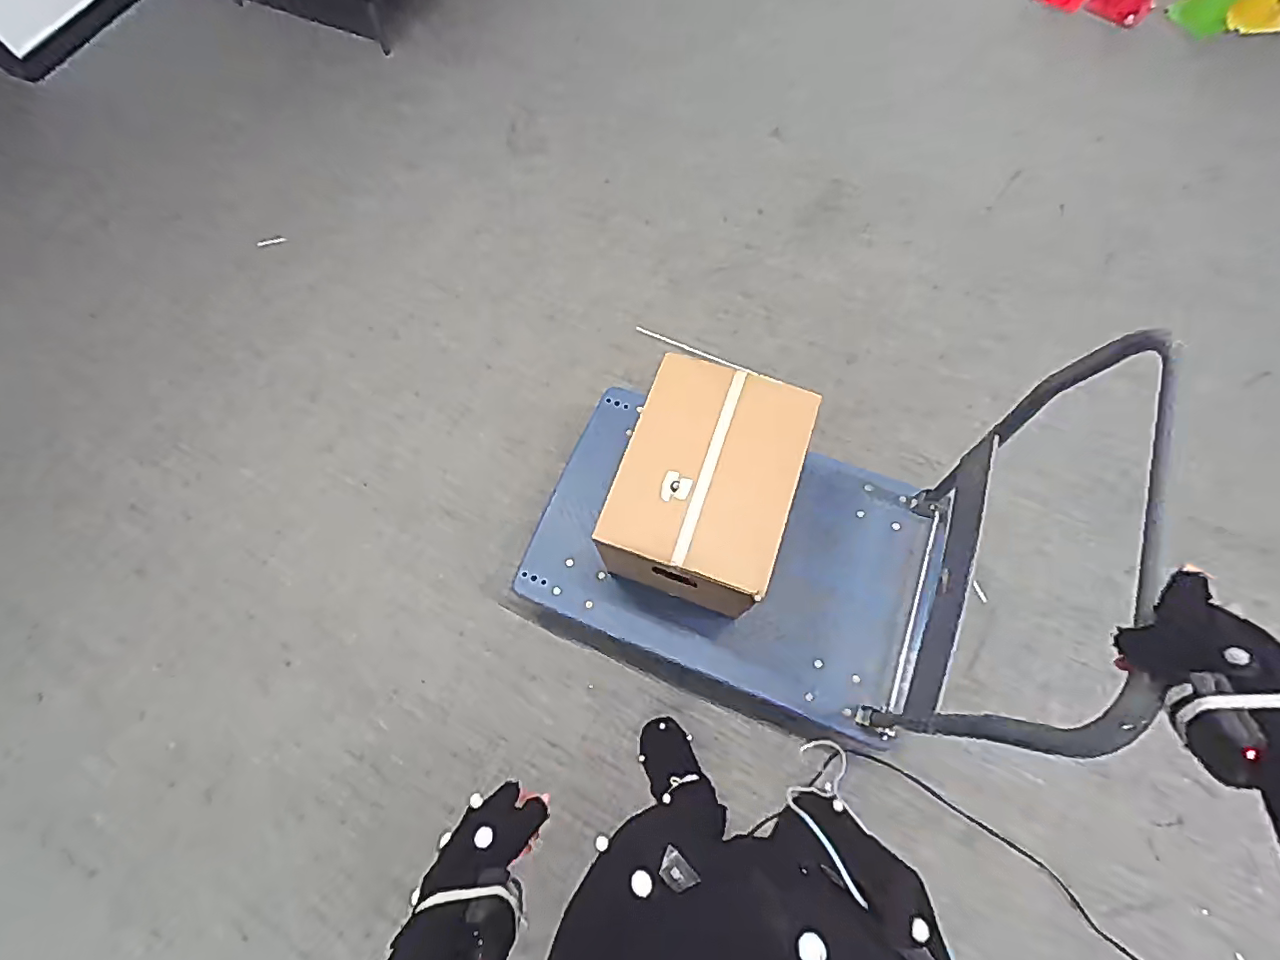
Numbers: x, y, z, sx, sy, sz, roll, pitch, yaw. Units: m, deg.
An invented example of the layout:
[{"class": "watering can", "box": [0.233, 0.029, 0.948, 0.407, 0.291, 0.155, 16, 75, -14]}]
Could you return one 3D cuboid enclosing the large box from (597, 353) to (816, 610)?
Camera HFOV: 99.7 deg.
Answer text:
[{"class": "large box", "box": [0.135, 0.017, 1.125, 0.320, 0.320, 0.408, 18, 73, 9]}]
